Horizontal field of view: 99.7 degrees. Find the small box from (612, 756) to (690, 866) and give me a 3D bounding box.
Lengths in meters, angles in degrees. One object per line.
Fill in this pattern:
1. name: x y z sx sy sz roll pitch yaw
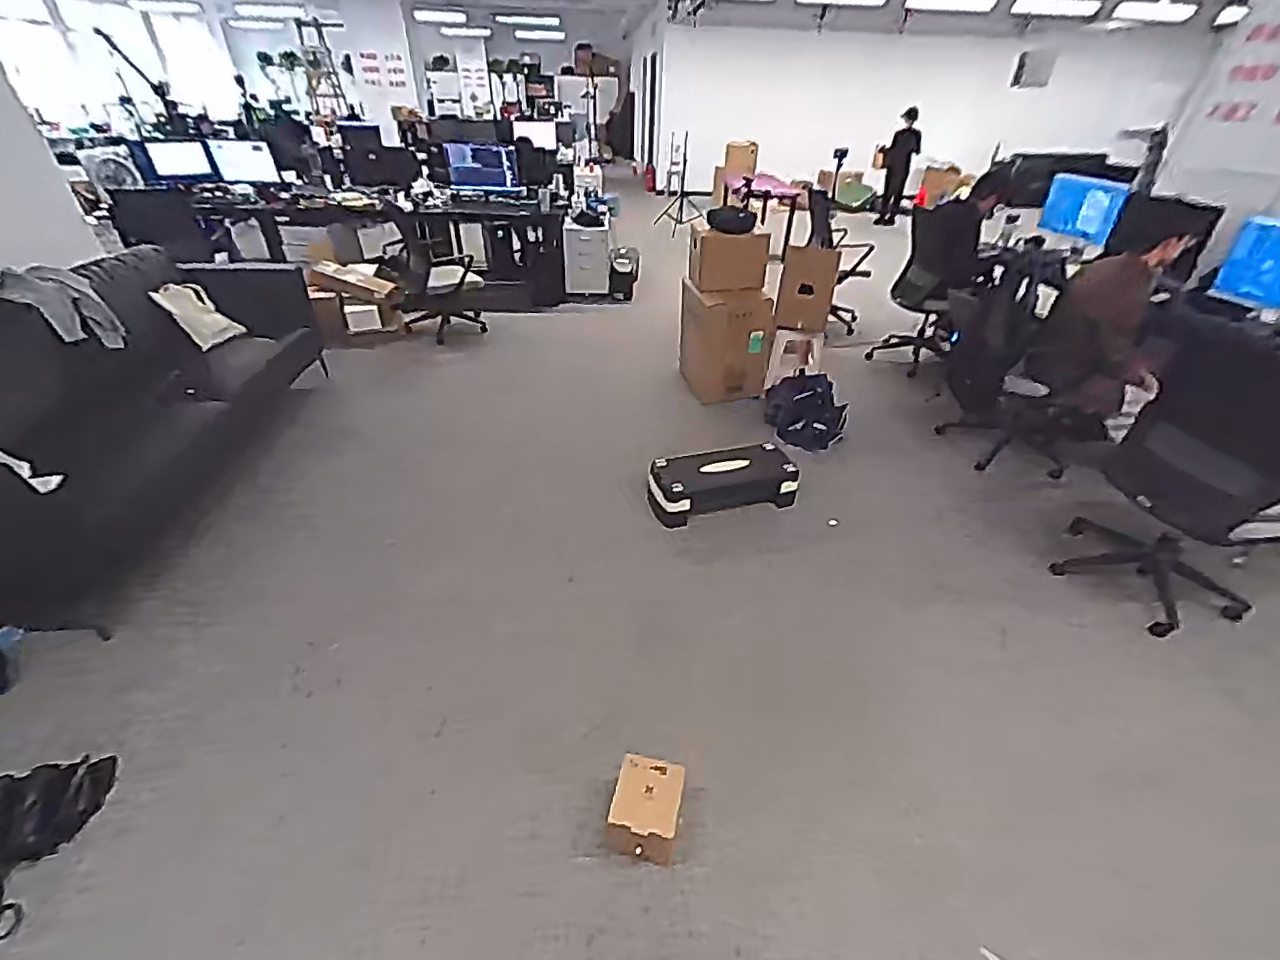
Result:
1. small box: 0.032 0.853 1.390 0.168 0.176 0.179 8 37 11
